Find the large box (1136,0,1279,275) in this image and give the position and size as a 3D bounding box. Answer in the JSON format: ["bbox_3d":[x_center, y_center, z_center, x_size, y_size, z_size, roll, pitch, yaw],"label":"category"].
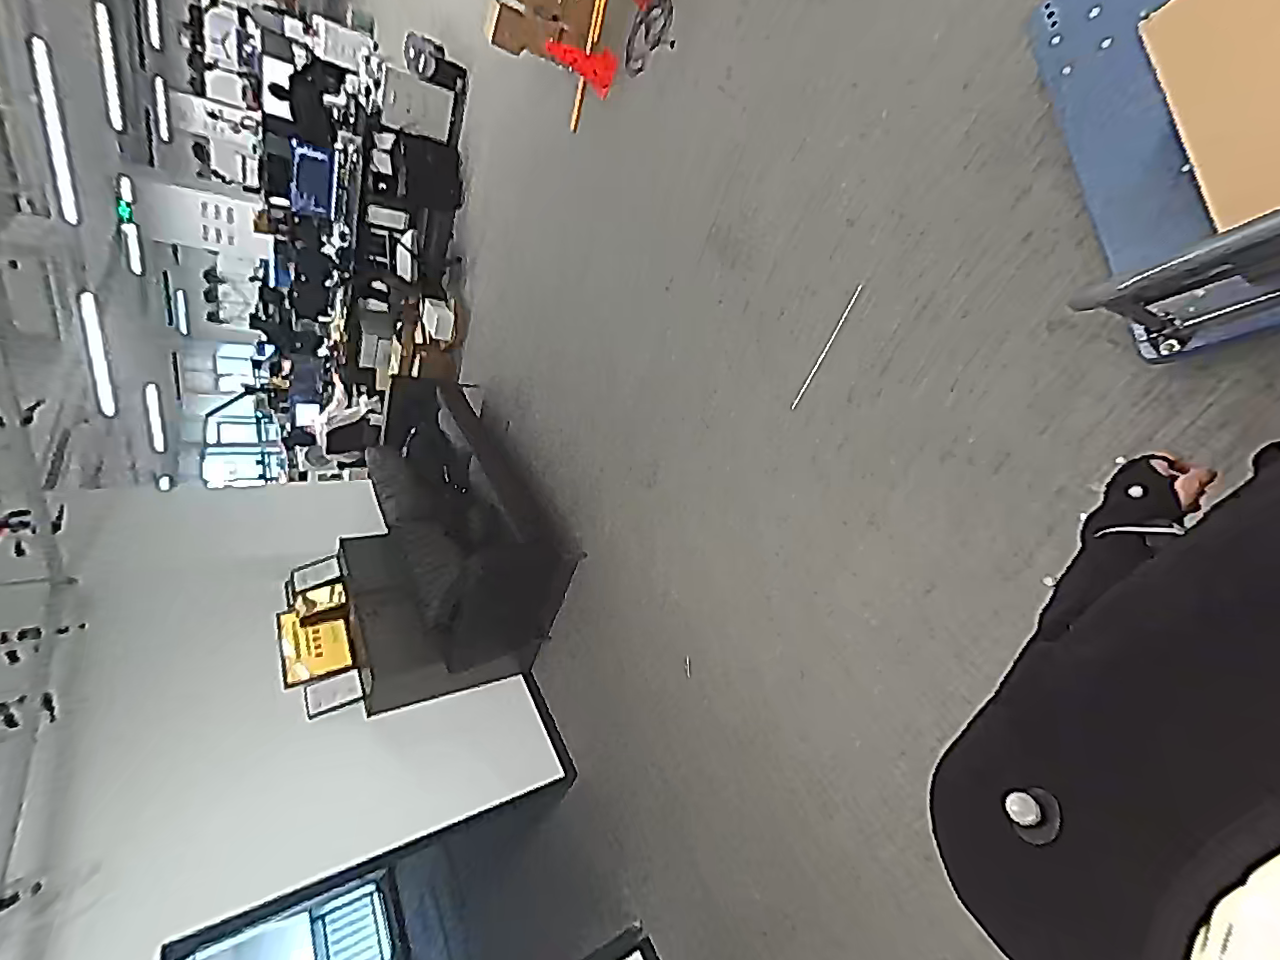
[{"bbox_3d":[1.071,-0.602,0.840,0.320,0.320,0.408,-22,74,51],"label":"large box"}]
